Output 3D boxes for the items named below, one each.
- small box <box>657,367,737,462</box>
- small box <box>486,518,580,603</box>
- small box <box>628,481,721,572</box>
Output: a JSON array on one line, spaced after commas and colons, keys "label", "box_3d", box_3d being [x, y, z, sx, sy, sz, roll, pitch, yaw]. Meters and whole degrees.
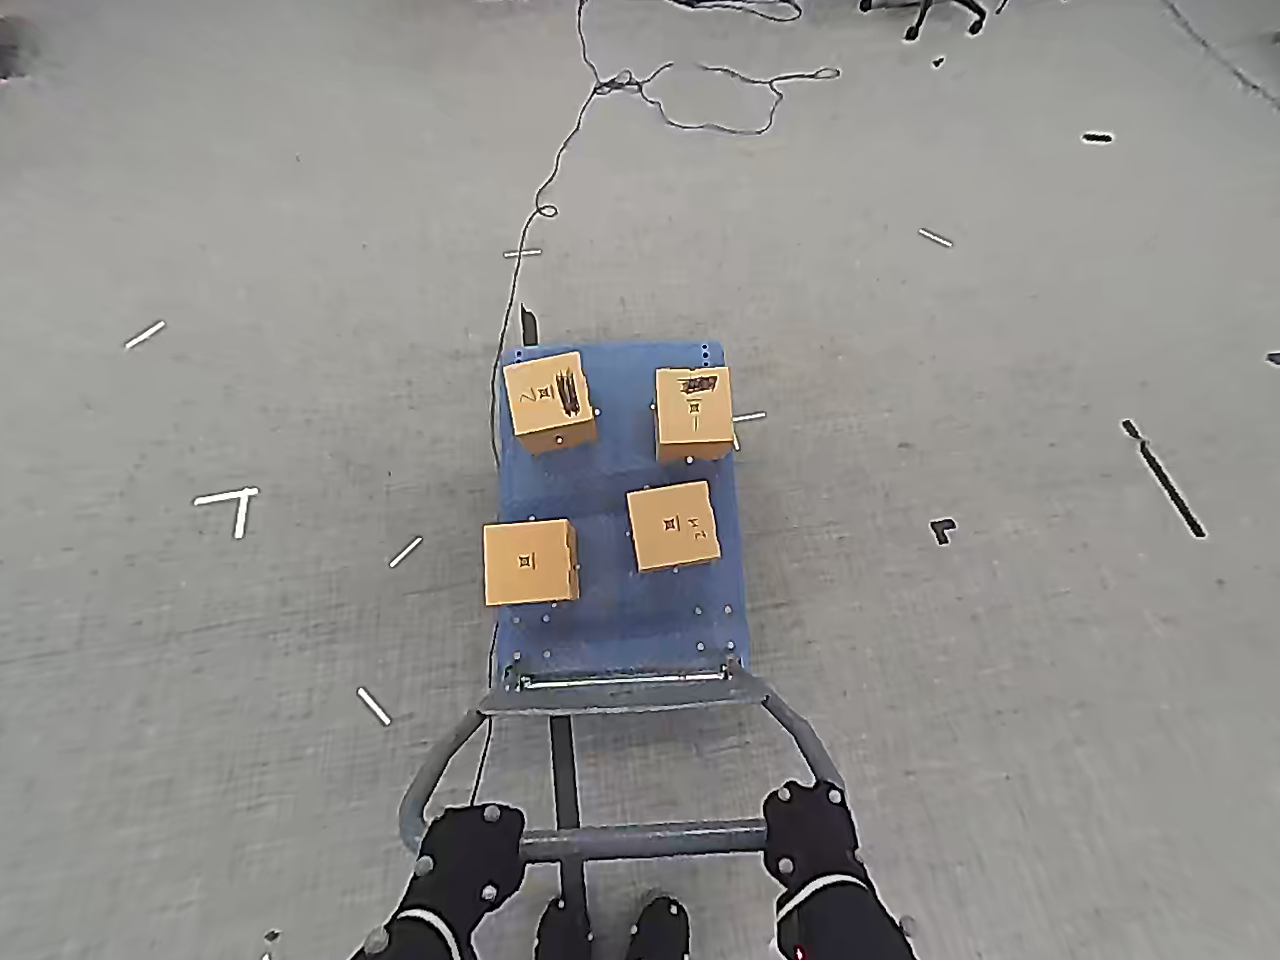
[{"label": "small box", "box_3d": [0.126, -0.149, 1.265, 0.168, 0.176, 0.179, -2, 79, 0]}, {"label": "small box", "box_3d": [-0.230, 0.183, 1.193, 0.179, 0.176, 0.168, -4, 78, -3]}, {"label": "small box", "box_3d": [0.073, 0.110, 1.208, 0.179, 0.176, 0.168, -8, 78, -2]}]
